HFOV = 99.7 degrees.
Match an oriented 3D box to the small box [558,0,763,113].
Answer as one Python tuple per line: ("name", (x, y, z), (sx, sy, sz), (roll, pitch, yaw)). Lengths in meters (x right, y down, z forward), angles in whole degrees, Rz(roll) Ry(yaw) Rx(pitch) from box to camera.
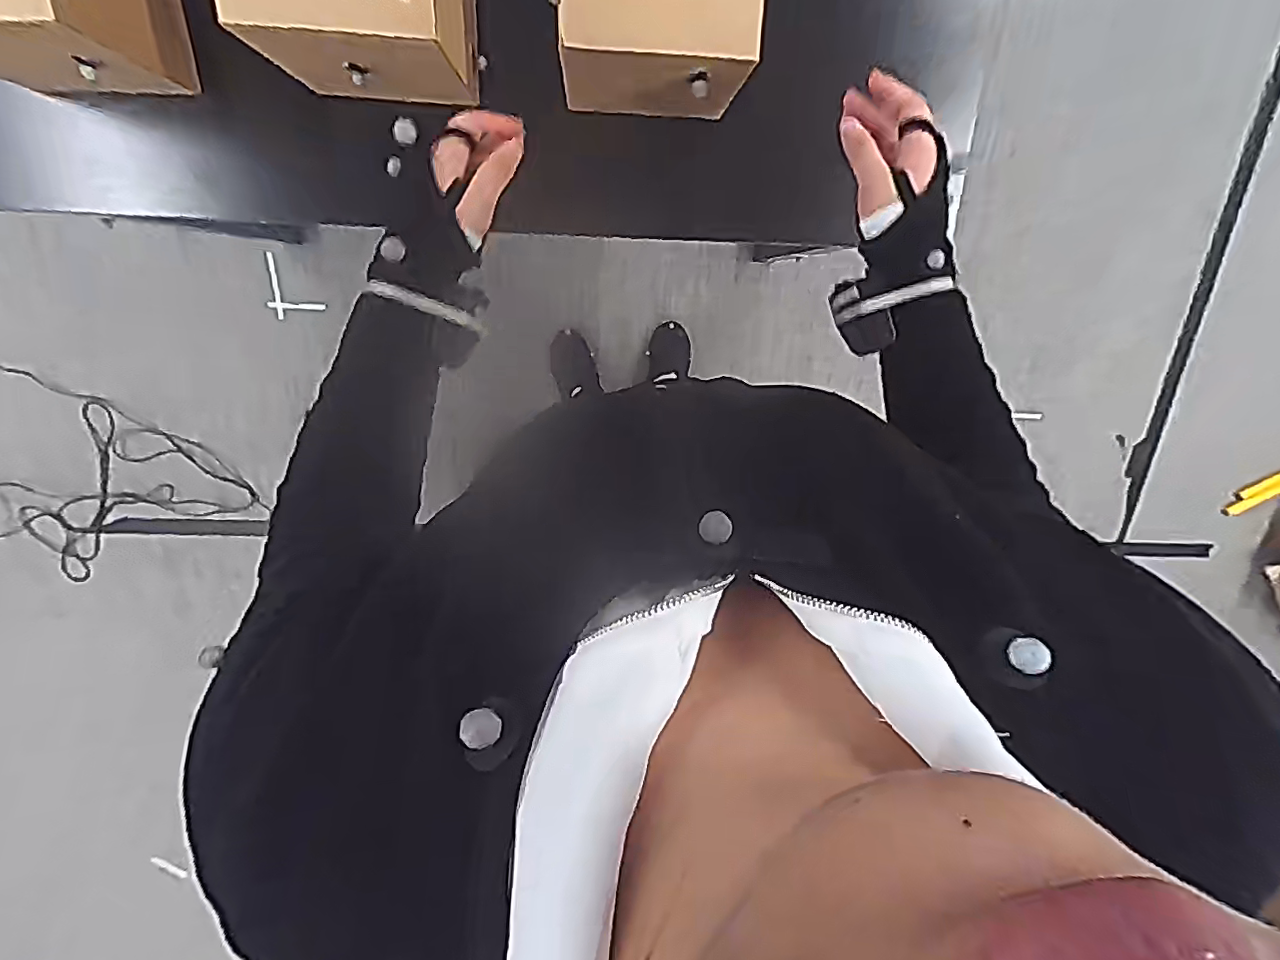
("small box", (0.014, -0.472, 0.515), (0.179, 0.176, 0.168), (0, 109, -4))

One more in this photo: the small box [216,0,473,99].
("small box", (-0.257, -0.473, 0.494), (0.179, 0.176, 0.168), (1, 109, -4))

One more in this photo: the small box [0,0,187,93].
("small box", (-0.551, -0.466, 0.476), (0.179, 0.176, 0.168), (-2, 108, -3))
